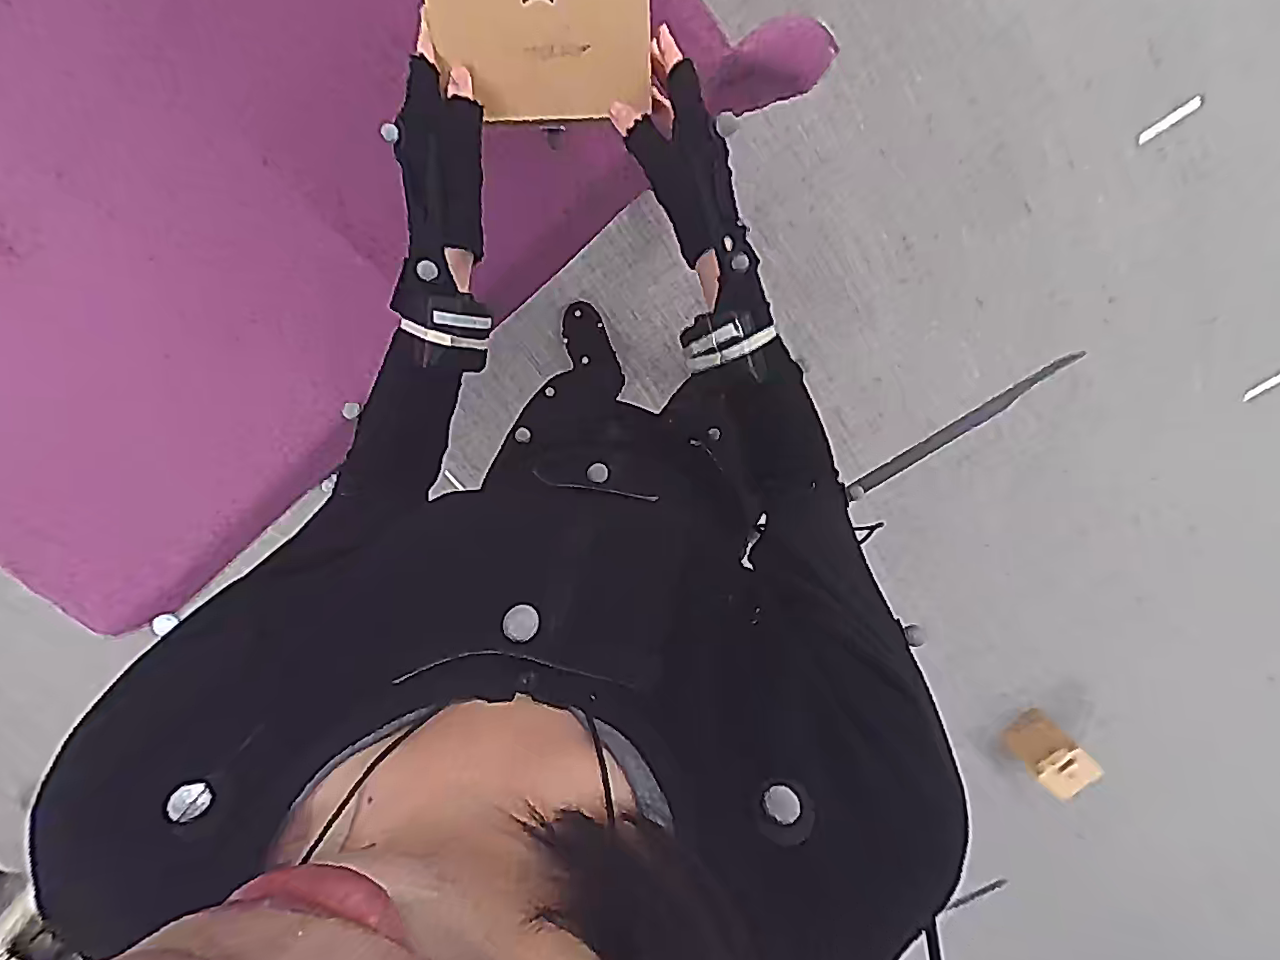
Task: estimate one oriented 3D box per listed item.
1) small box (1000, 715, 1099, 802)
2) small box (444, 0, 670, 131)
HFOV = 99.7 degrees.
[{"bbox_3d":[1.375,0.933,1.831,0.179,0.176,0.168,41,102,-15],"label":"small box"},{"bbox_3d":[-0.061,-0.401,0.451,0.168,0.176,0.179,0,121,1],"label":"small box"}]
